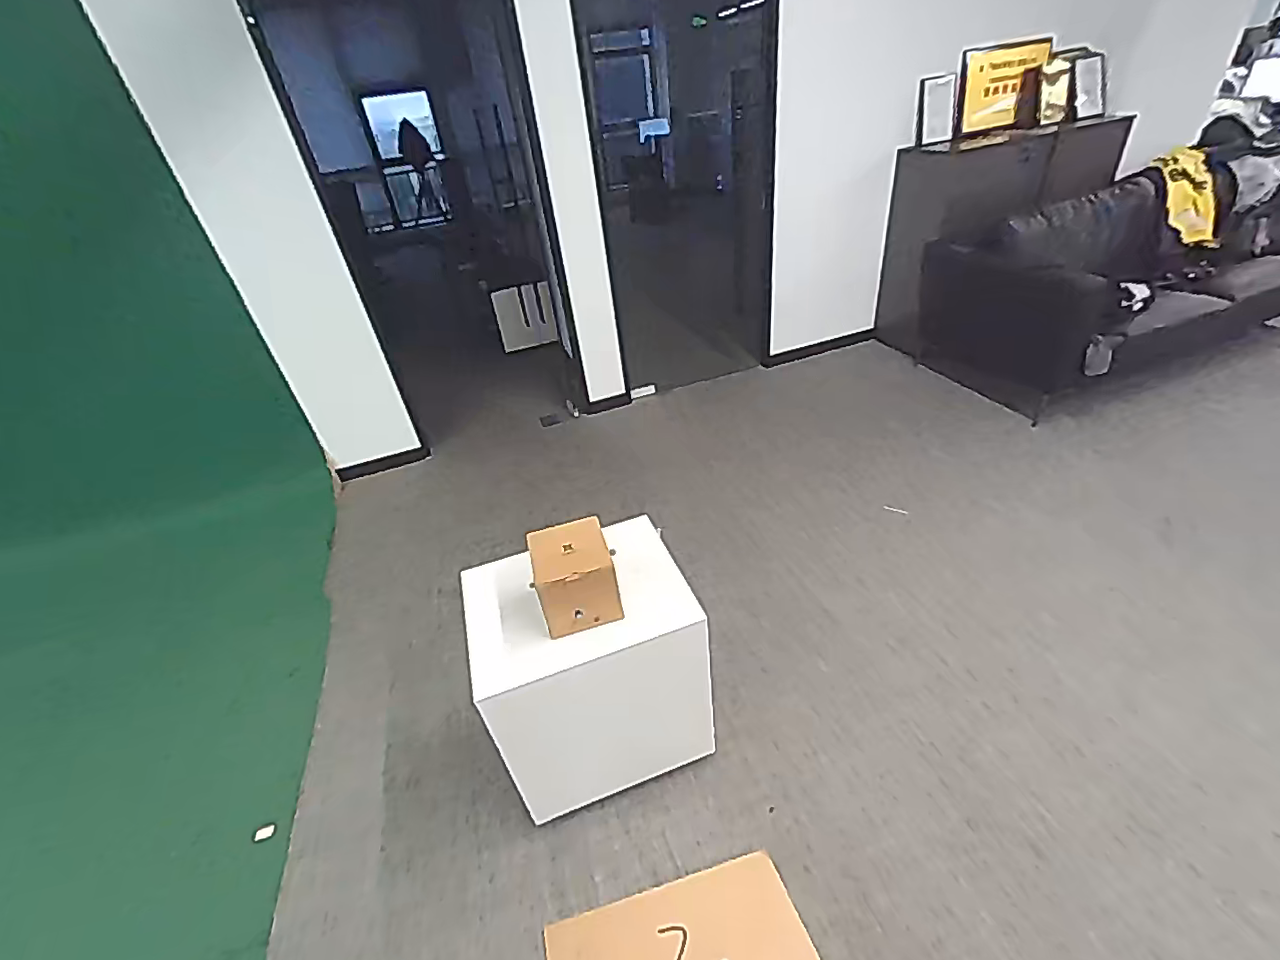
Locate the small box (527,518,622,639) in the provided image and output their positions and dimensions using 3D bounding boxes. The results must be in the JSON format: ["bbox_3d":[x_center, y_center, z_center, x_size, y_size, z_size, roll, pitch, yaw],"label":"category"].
[{"bbox_3d":[-0.146,0.217,1.199,0.168,0.176,0.179,-15,36,-10],"label":"small box"}]
